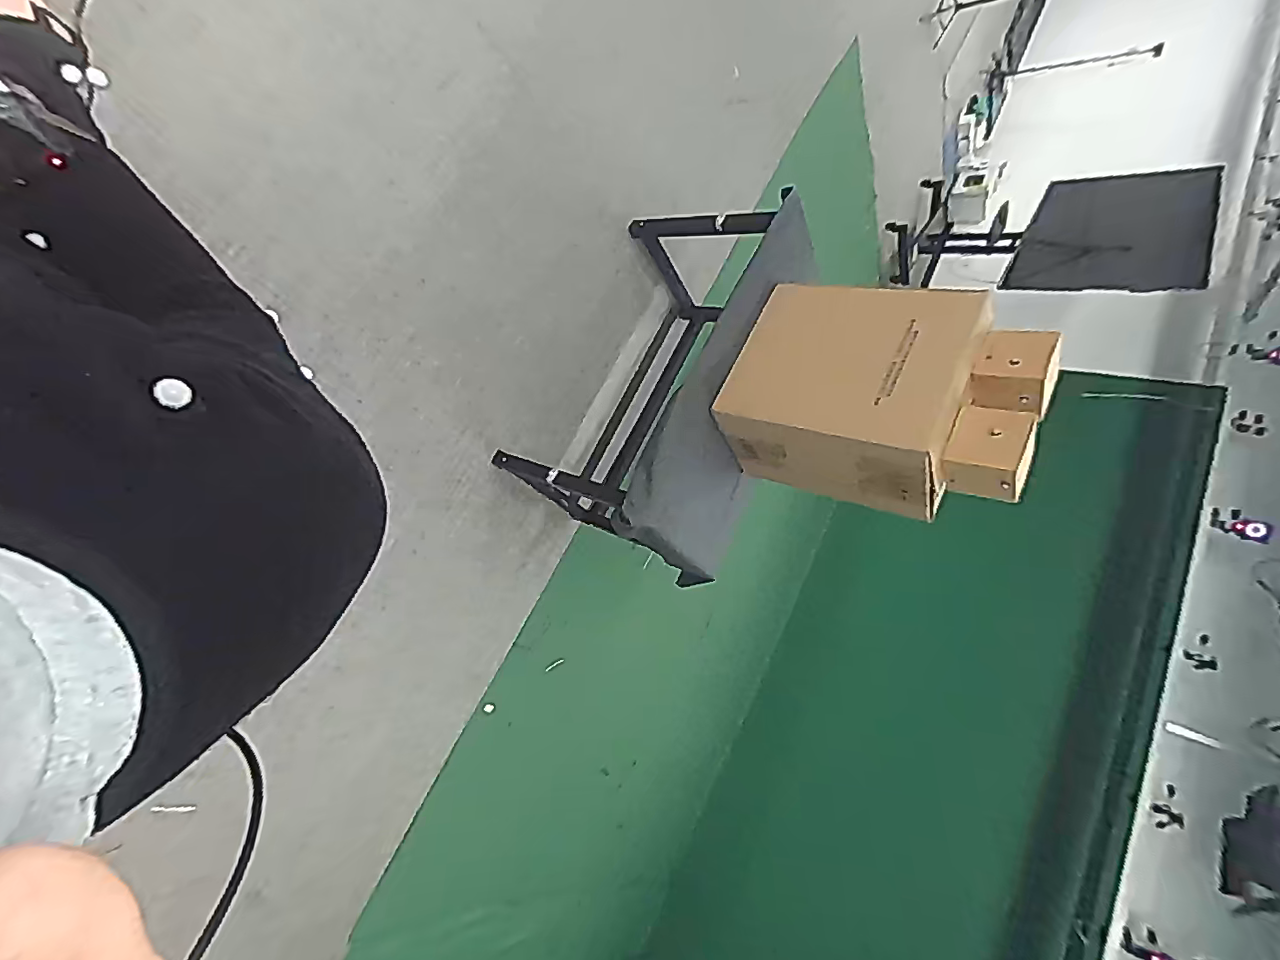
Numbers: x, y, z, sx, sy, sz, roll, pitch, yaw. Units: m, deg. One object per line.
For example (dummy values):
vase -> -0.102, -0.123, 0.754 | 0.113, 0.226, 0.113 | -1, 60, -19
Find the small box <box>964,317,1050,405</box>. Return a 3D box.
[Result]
small box -> 1.015, -0.330, 1.504 | 0.168, 0.176, 0.179 | -60, 139, -18

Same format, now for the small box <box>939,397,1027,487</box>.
small box -> 0.907, -0.106, 1.434 | 0.168, 0.176, 0.179 | 44, 66, -47
